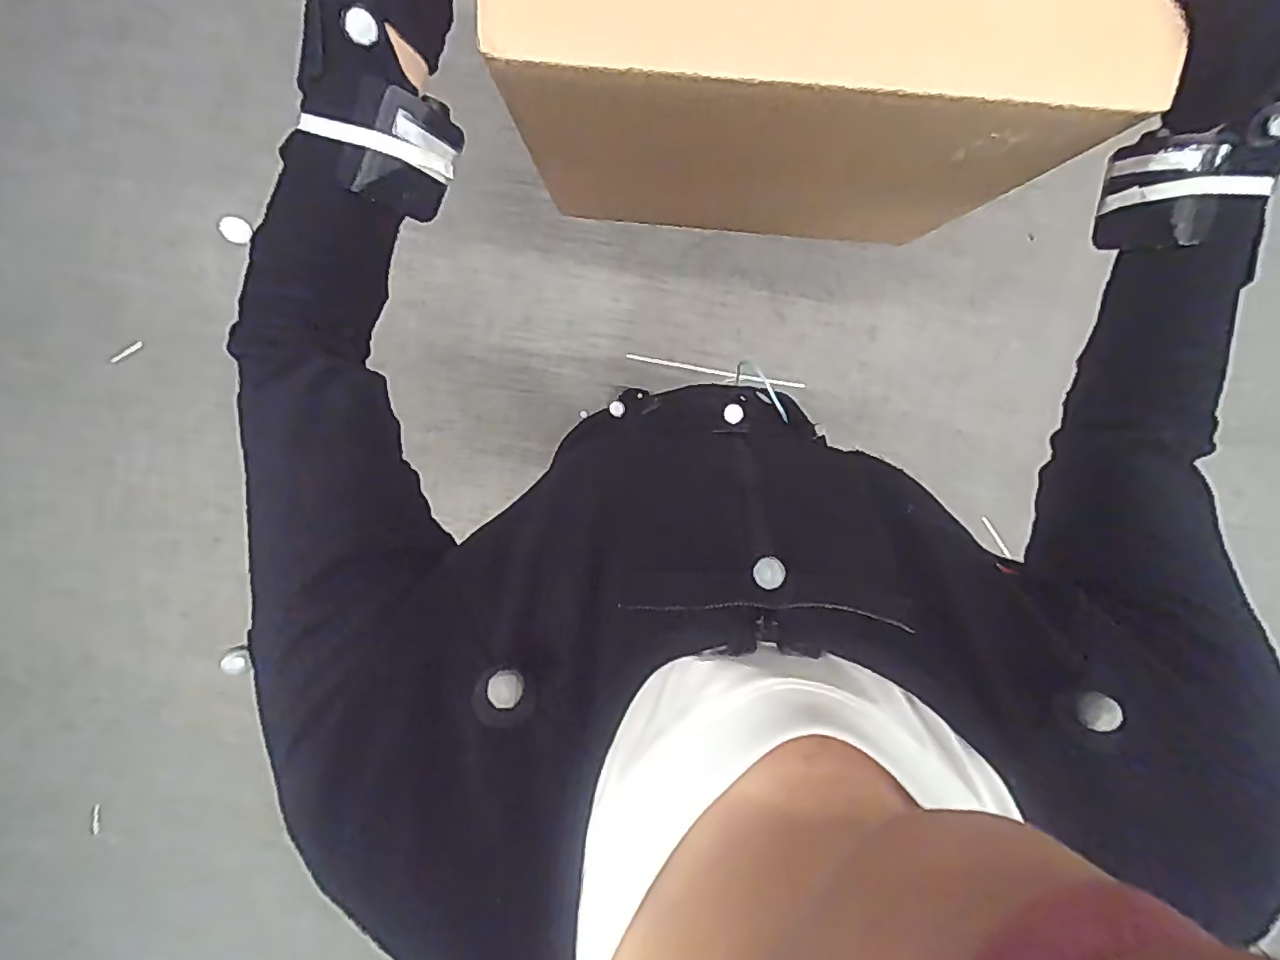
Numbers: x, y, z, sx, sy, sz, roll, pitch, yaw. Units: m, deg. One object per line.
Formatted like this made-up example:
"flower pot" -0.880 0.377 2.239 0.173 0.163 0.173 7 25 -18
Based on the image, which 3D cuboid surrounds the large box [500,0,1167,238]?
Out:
"large box" 0.117 -0.412 0.449 0.408 0.320 0.320 4 100 -2
